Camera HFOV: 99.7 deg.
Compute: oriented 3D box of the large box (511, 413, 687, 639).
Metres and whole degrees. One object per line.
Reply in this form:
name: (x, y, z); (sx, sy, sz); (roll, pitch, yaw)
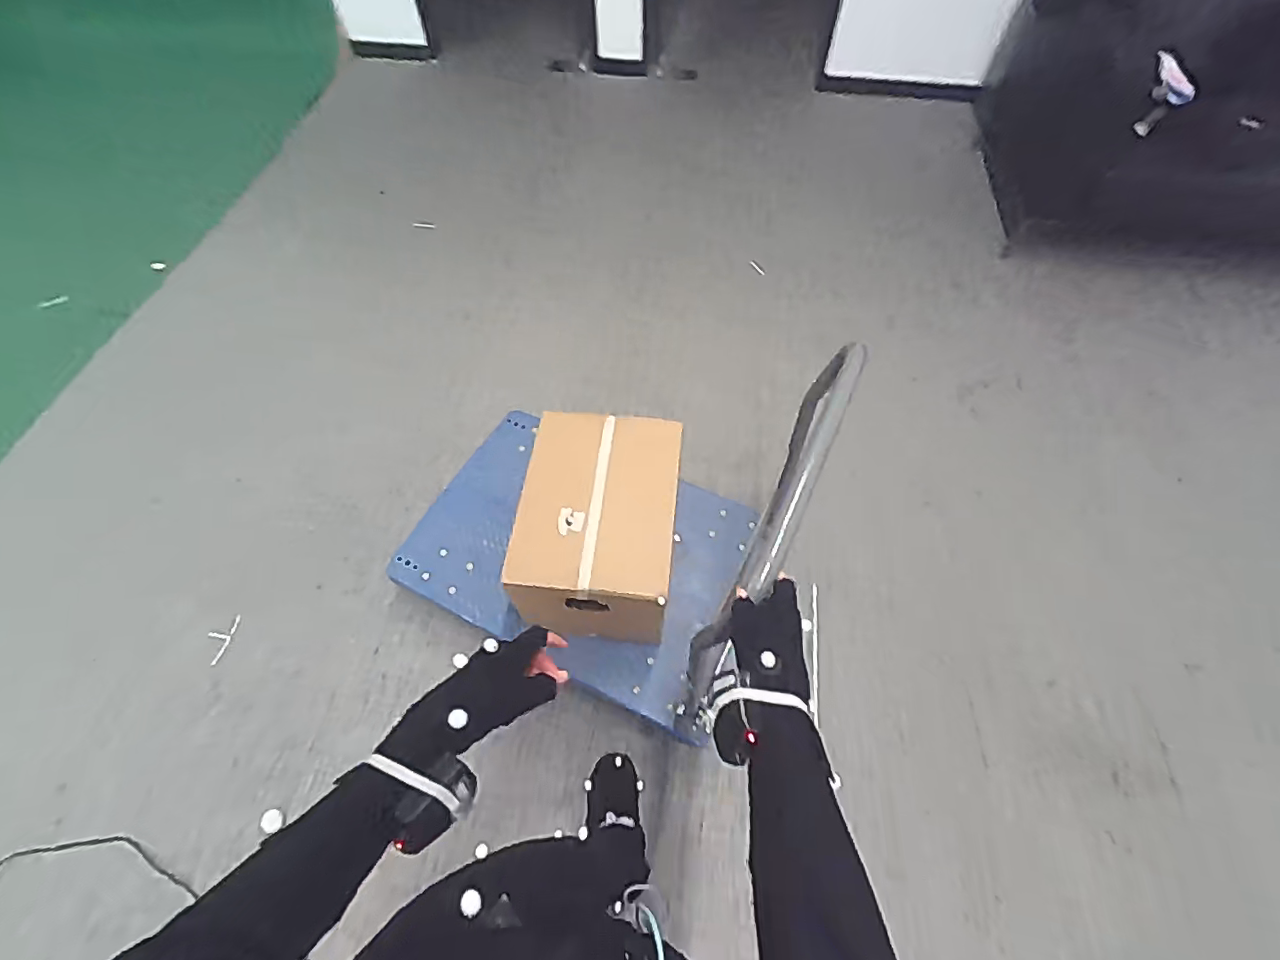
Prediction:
large box: (-0.072, 0.108, 1.219); (0.320, 0.320, 0.408); (6, 60, 3)
